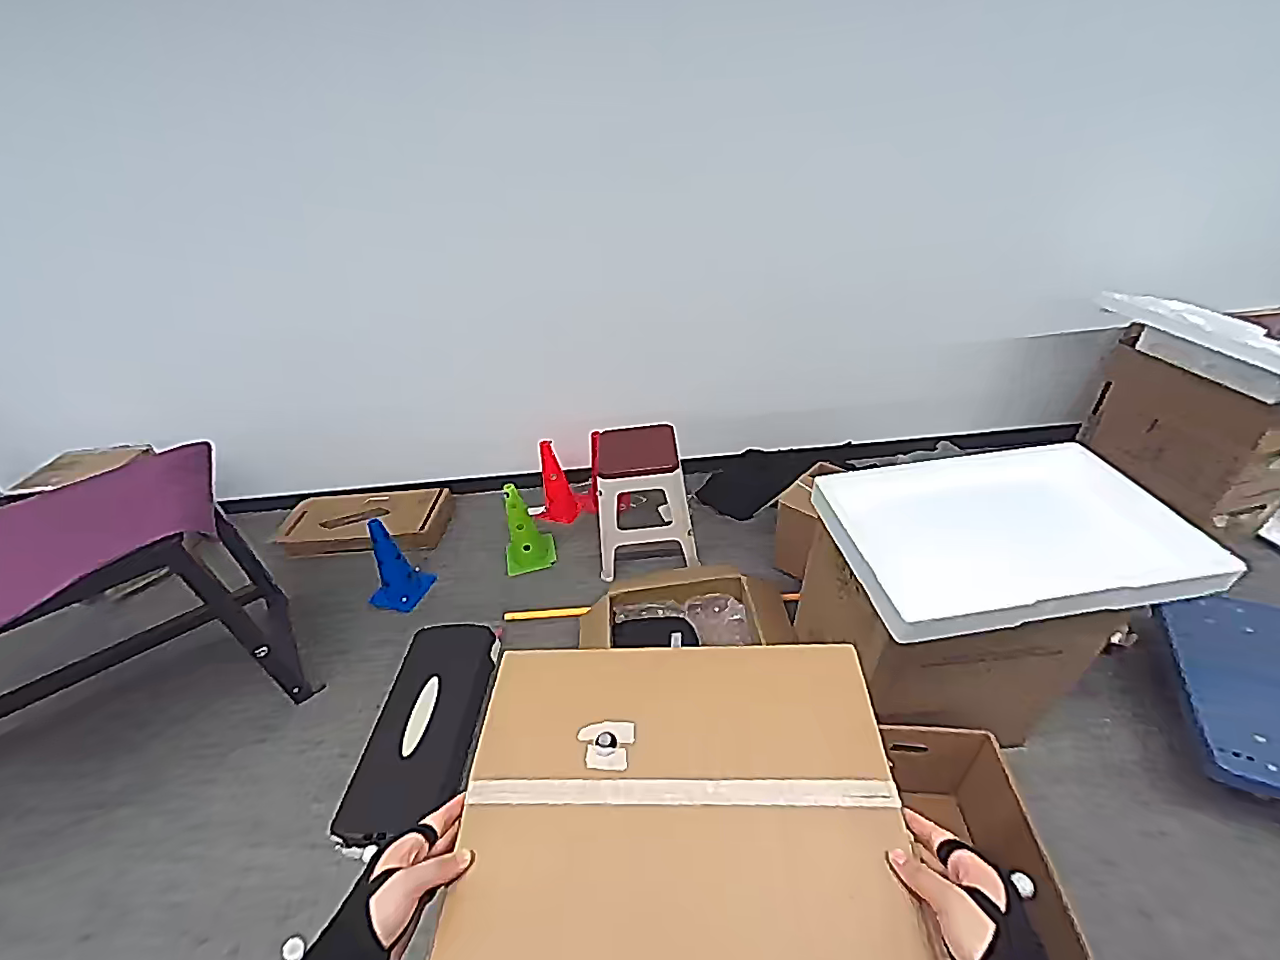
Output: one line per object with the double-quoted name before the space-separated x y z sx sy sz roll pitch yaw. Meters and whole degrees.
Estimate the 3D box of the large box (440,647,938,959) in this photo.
"large box" 0.054 0.418 0.614 0.408 0.320 0.320 -4 39 6
